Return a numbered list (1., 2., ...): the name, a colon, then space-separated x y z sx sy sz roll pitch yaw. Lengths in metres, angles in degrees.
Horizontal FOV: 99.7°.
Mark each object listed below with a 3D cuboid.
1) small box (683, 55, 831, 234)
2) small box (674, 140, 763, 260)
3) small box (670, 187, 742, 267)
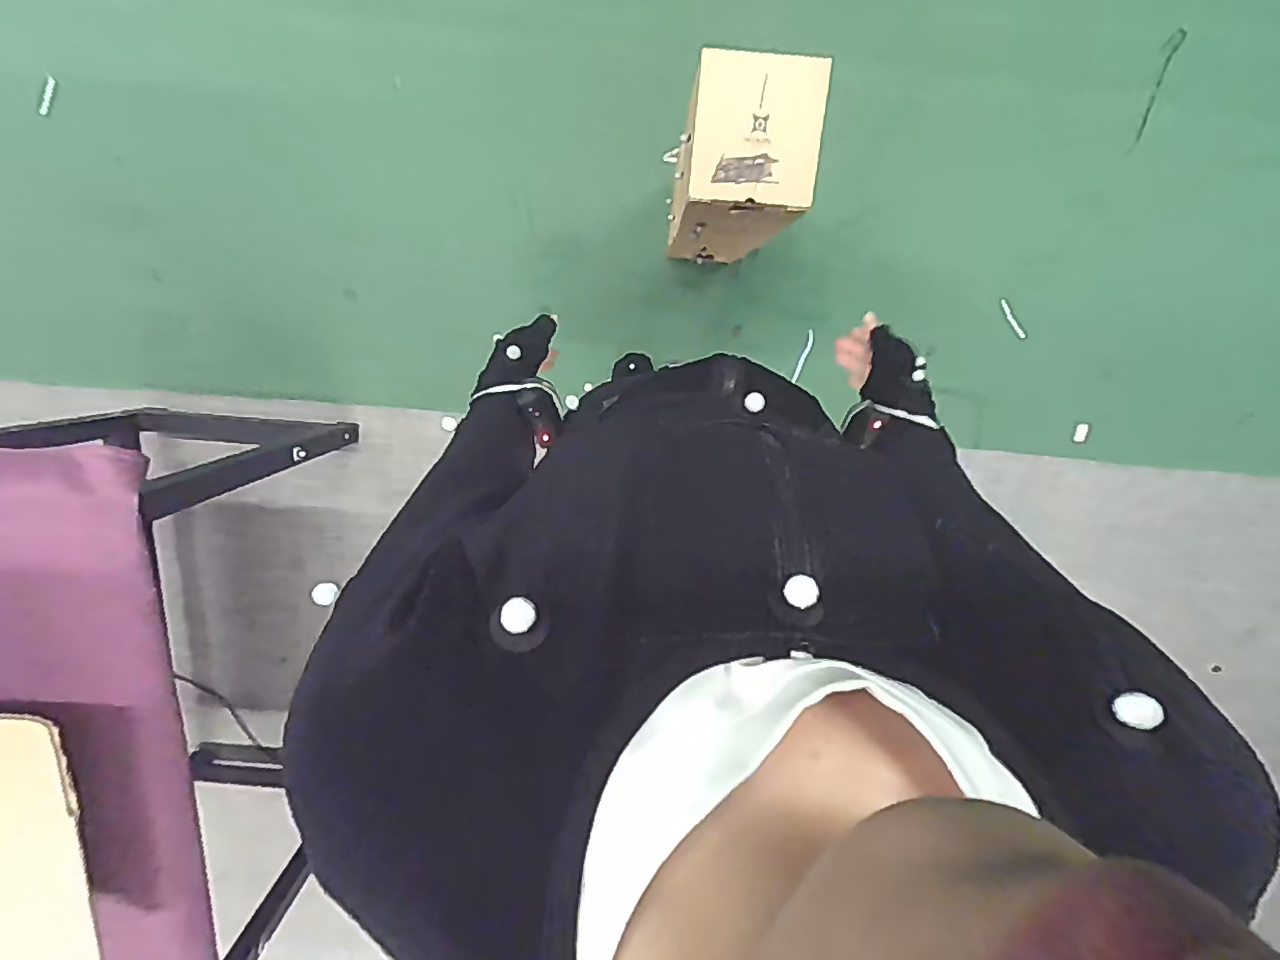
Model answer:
1. small box: 0.155 -0.464 0.778 0.168 0.176 0.179 4 104 -1
2. small box: 0.159 -0.557 1.094 0.168 0.176 0.179 4 105 -1
3. small box: 0.161 -0.605 1.250 0.168 0.176 0.179 7 105 0
